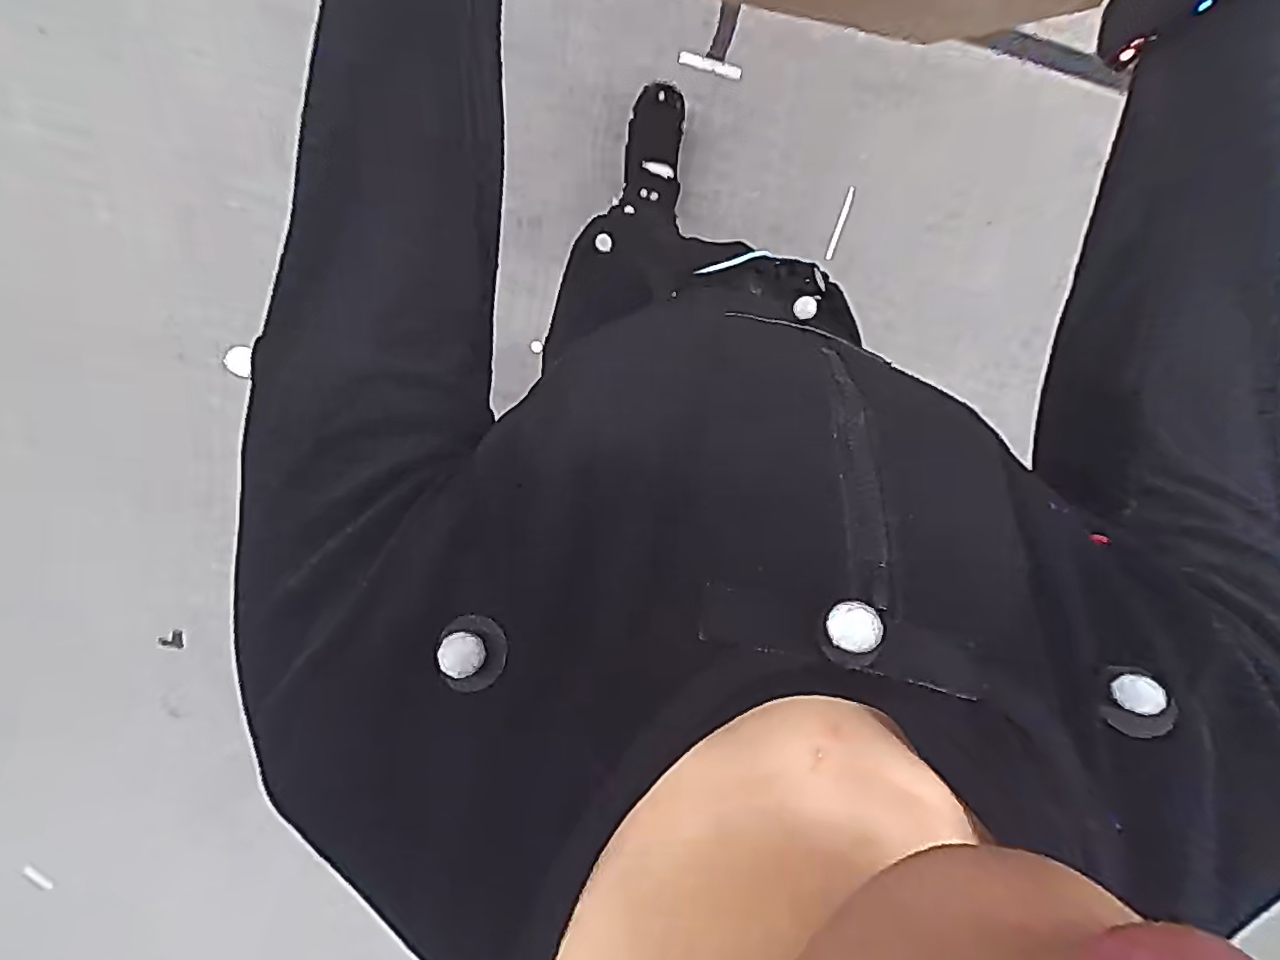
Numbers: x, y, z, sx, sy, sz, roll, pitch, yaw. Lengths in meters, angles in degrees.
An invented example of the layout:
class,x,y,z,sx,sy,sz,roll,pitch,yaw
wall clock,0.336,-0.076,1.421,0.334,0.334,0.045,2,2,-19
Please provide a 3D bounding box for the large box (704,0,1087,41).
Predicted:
class,x,y,z,sx,sy,sz,roll,pitch,yaw
large box,0.147,-0.567,0.400,0.408,0.320,0.320,8,125,-5
